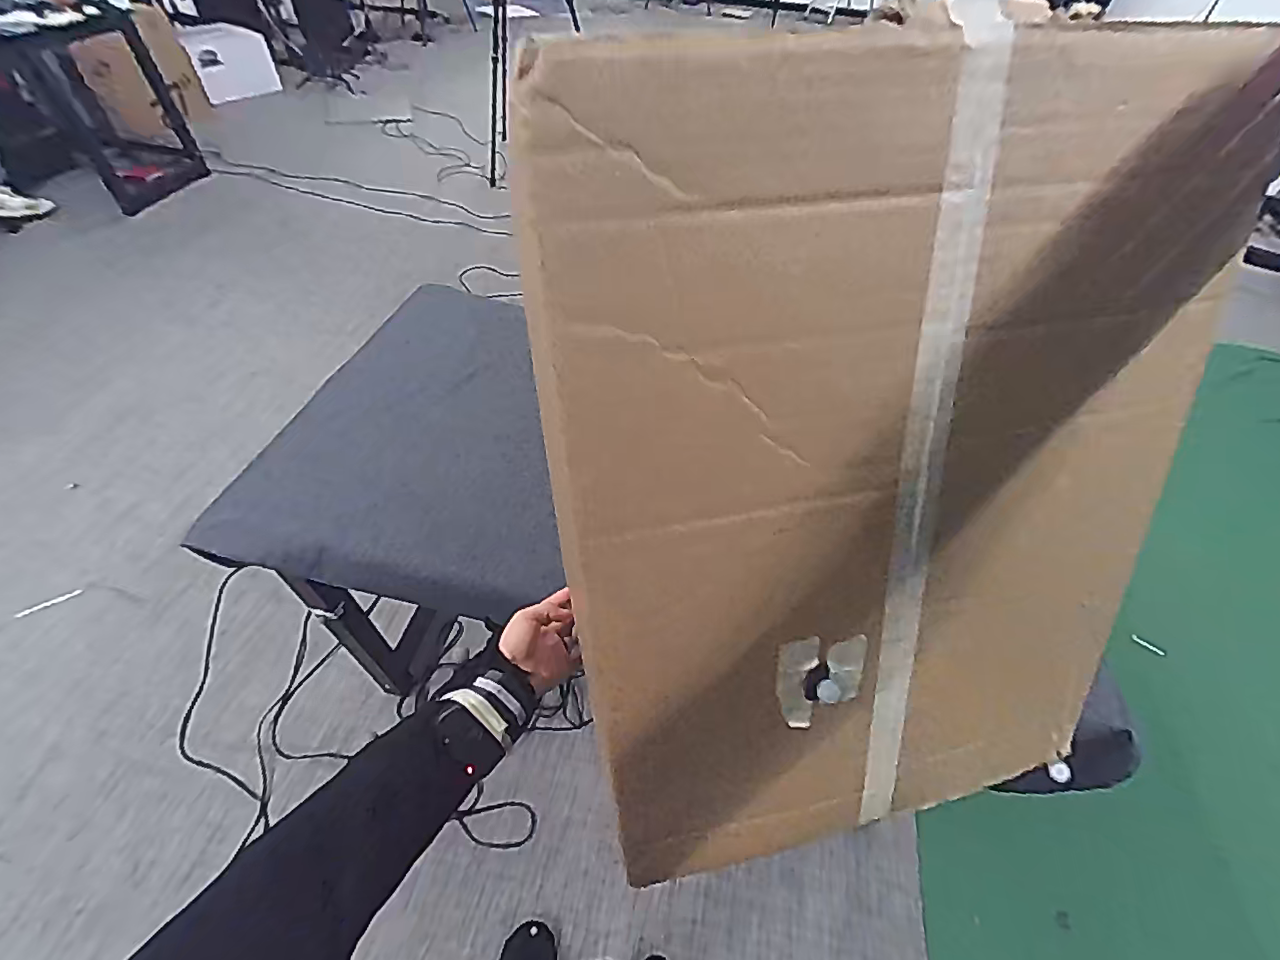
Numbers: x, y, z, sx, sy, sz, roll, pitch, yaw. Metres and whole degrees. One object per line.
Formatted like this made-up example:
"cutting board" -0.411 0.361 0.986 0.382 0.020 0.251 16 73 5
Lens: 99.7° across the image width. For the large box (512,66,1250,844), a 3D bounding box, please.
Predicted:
"large box" 0.099 -0.032 0.419 0.320 0.408 0.320 -10 26 -11
